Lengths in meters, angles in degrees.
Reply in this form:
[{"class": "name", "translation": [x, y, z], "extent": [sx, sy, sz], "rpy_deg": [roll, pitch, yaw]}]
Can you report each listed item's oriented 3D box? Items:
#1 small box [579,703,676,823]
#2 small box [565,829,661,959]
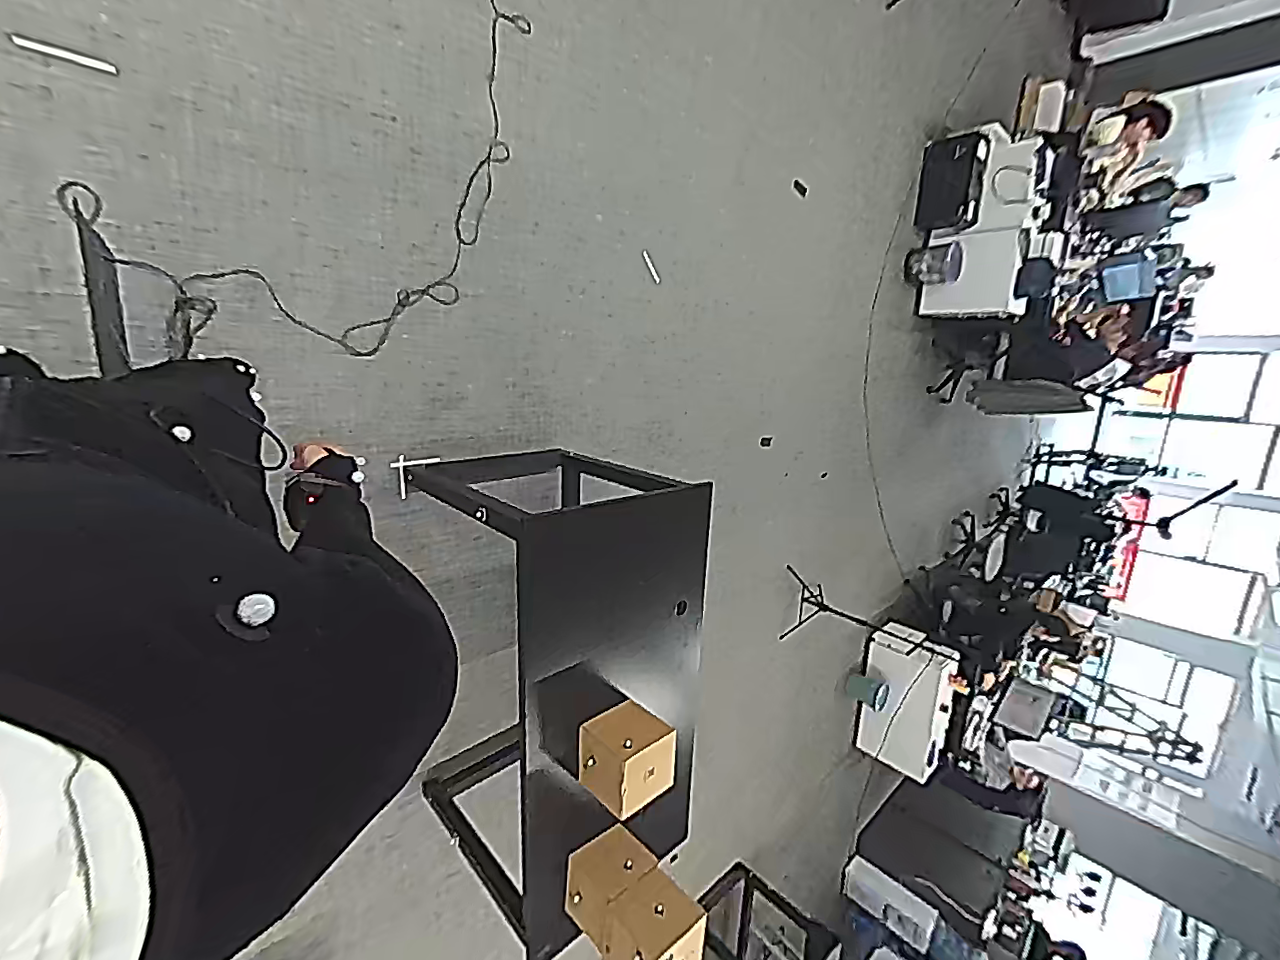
[{"class": "small box", "translation": [-0.031, 0.691, 1.347], "extent": [0.179, 0.176, 0.168], "rpy_deg": [-10, 108, -42]}, {"class": "small box", "translation": [-0.070, 1.057, 1.401], "extent": [0.179, 0.176, 0.168], "rpy_deg": [-3, 102, -44]}]
